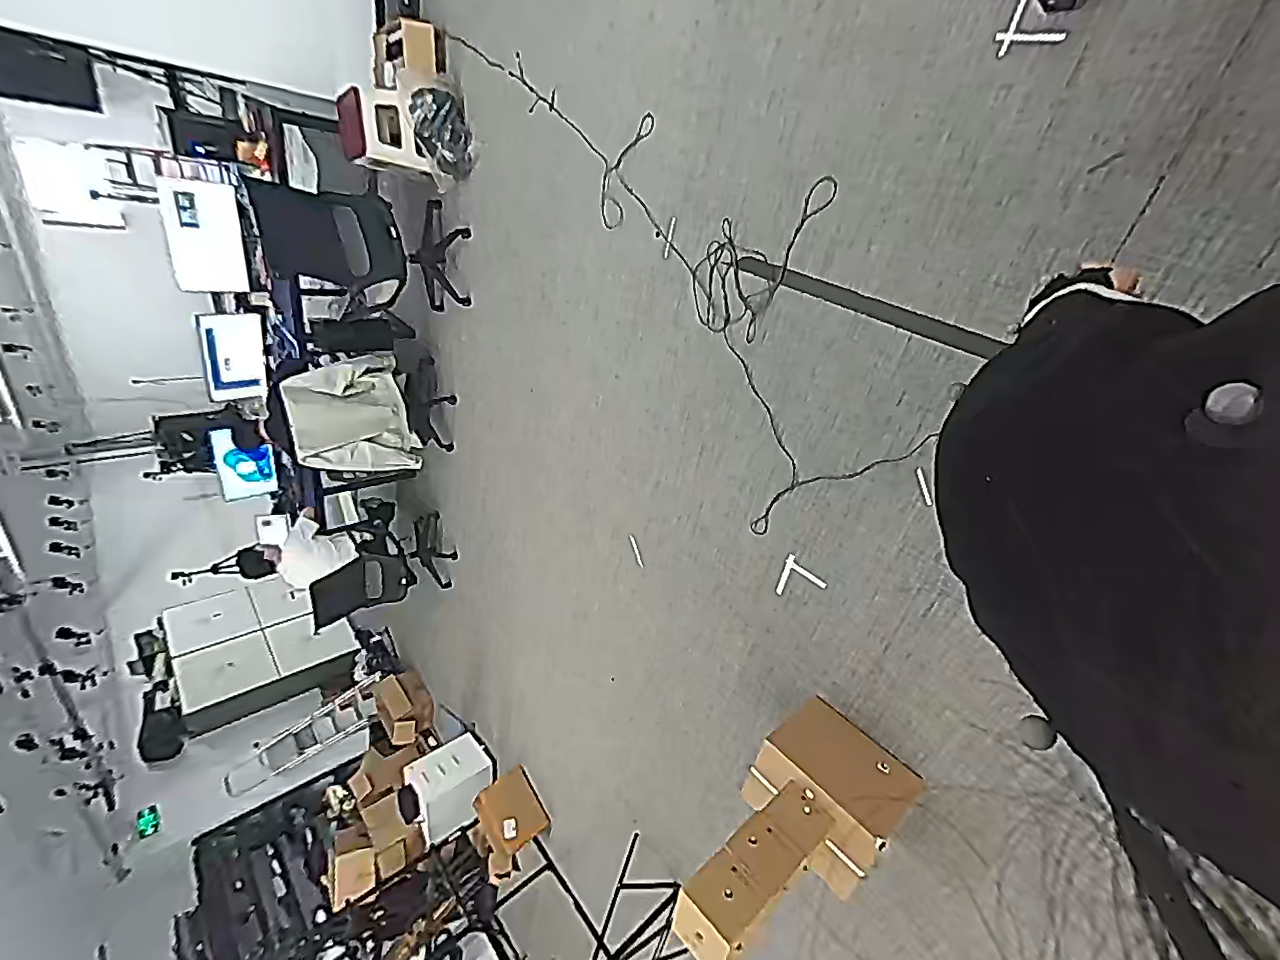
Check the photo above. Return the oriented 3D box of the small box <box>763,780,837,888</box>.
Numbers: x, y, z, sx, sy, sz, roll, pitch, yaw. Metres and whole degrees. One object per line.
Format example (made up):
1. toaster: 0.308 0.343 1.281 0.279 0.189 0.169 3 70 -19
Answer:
1. small box: 0.455 1.044 1.604 0.168 0.176 0.179 33 125 37

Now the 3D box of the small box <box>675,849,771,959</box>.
1. small box: 0.216 1.110 1.392 0.168 0.176 0.179 29 122 41

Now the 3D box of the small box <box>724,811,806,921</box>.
1. small box: 0.335 1.071 1.499 0.168 0.176 0.179 33 126 39
